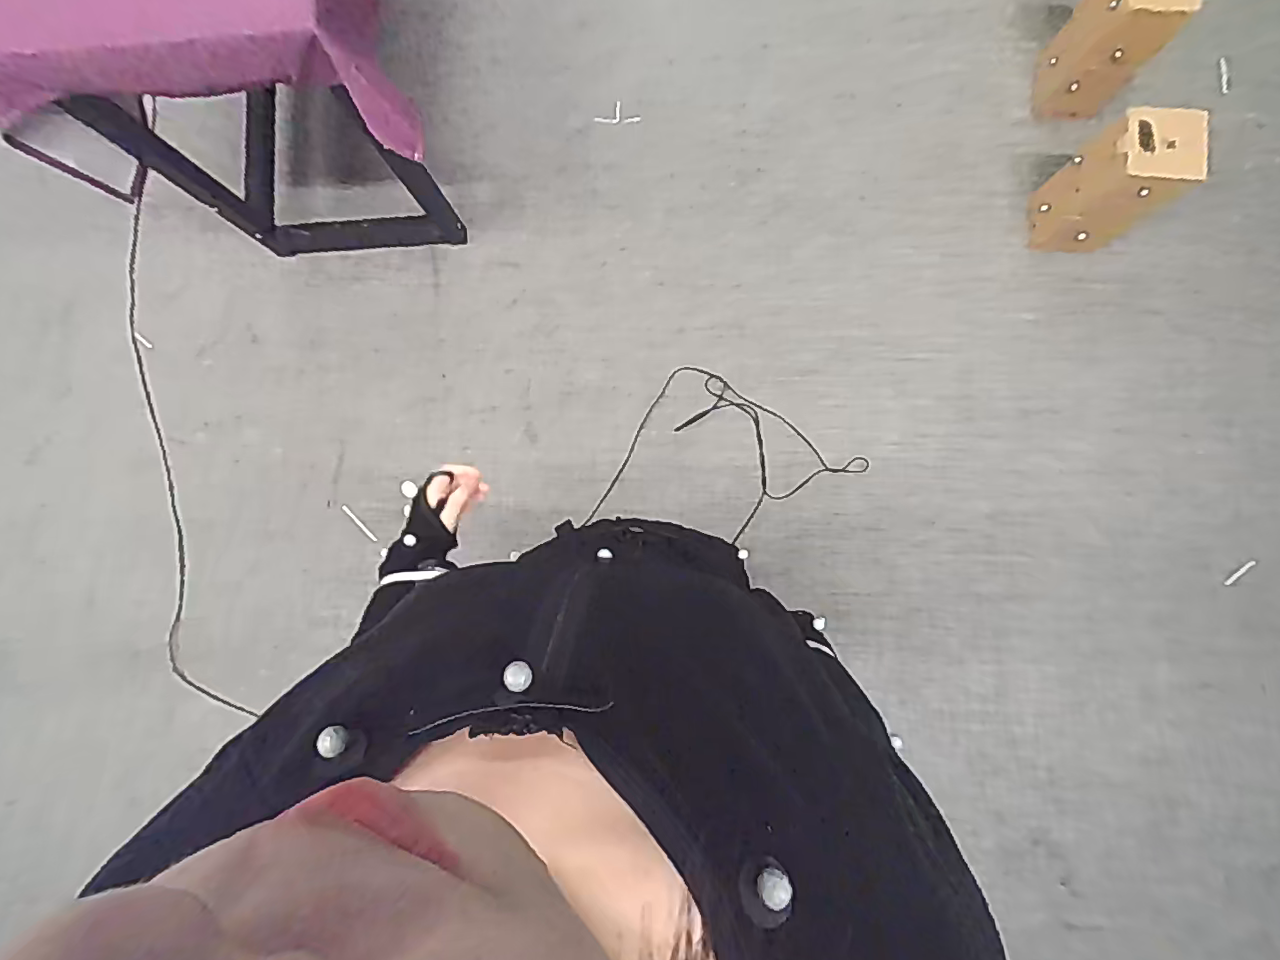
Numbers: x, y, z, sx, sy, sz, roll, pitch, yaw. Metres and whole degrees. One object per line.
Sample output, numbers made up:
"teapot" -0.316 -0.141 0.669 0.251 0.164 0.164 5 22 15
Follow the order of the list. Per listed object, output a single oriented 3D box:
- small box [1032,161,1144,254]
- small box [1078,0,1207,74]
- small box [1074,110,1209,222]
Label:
"small box" 1.192 -0.724 1.449 0.179 0.176 0.168 4 87 3
"small box" 1.211 -1.141 1.313 0.168 0.176 0.179 5 86 2
"small box" 1.181 -0.737 1.285 0.179 0.176 0.168 5 86 2
